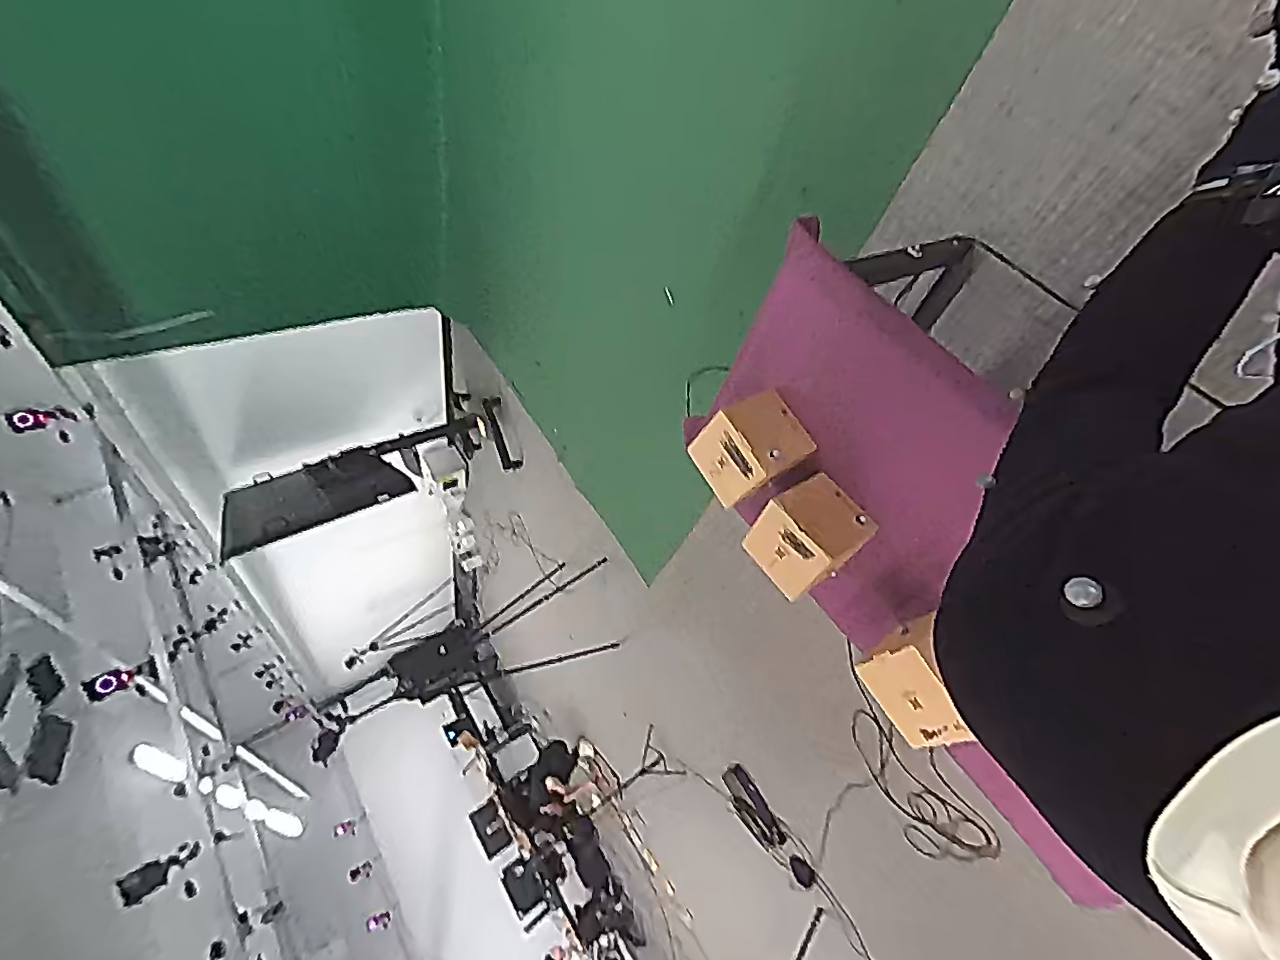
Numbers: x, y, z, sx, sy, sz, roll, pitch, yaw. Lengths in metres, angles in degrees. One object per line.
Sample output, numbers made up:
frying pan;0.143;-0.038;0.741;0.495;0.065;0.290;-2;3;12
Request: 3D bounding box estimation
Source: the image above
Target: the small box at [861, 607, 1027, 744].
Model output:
small box;0.563;0.357;1.008;0.179;0.176;0.168;57;148;17
